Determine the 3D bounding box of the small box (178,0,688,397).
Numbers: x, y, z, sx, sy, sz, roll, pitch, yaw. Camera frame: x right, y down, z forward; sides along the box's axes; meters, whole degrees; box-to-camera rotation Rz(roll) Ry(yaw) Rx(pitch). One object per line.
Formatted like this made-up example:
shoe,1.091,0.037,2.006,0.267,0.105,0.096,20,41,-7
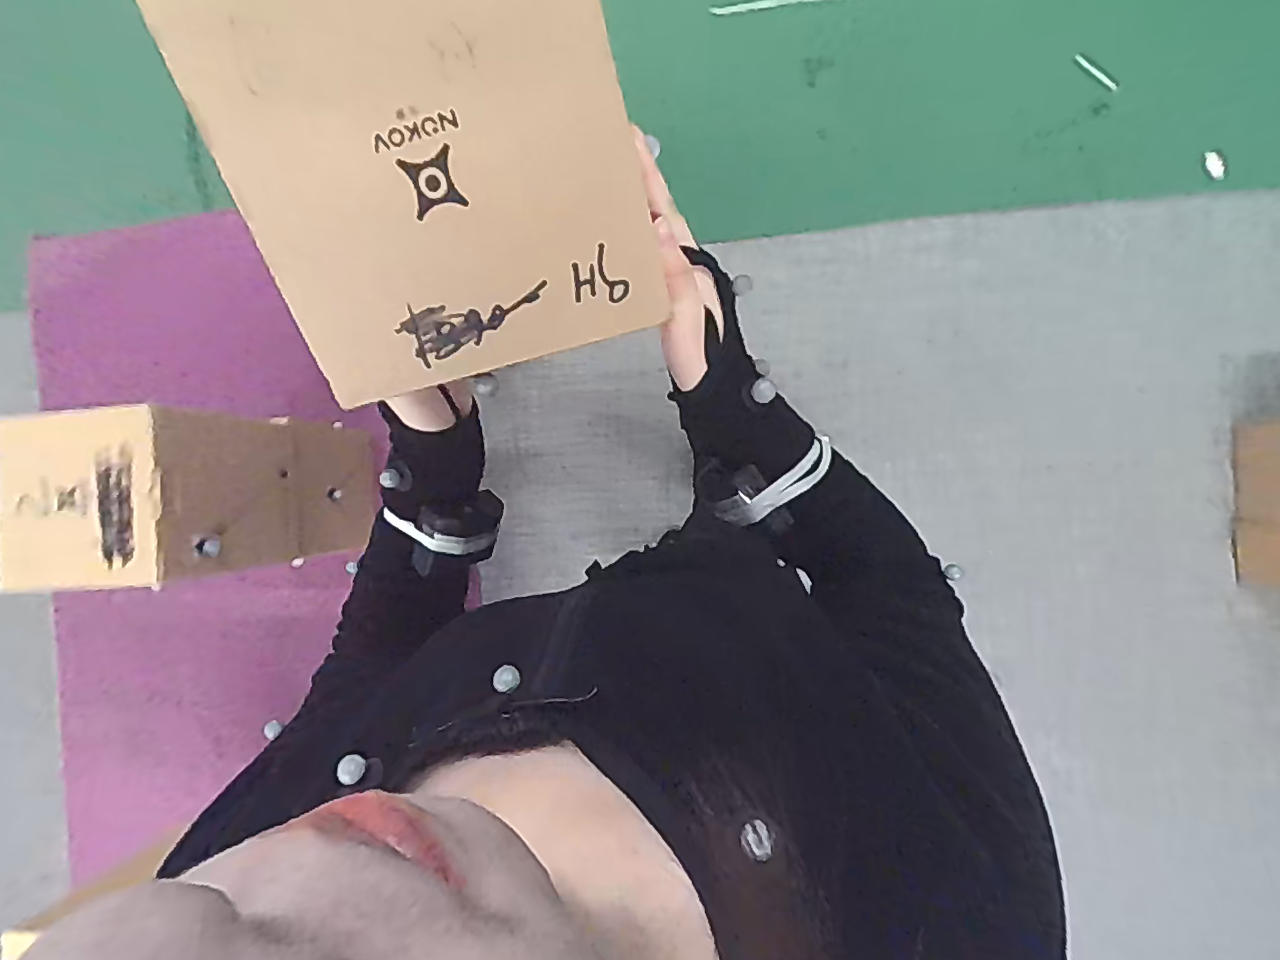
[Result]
small box,-0.074,-0.162,0.291,0.168,0.176,0.179,-12,112,7

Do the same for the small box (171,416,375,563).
small box,-0.490,0.014,0.743,0.168,0.176,0.179,-4,90,7

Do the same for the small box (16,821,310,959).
small box,-0.482,0.492,0.570,0.168,0.176,0.179,-4,90,7

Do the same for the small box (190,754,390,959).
small box,-0.461,0.501,0.732,0.168,0.176,0.179,-3,88,7
